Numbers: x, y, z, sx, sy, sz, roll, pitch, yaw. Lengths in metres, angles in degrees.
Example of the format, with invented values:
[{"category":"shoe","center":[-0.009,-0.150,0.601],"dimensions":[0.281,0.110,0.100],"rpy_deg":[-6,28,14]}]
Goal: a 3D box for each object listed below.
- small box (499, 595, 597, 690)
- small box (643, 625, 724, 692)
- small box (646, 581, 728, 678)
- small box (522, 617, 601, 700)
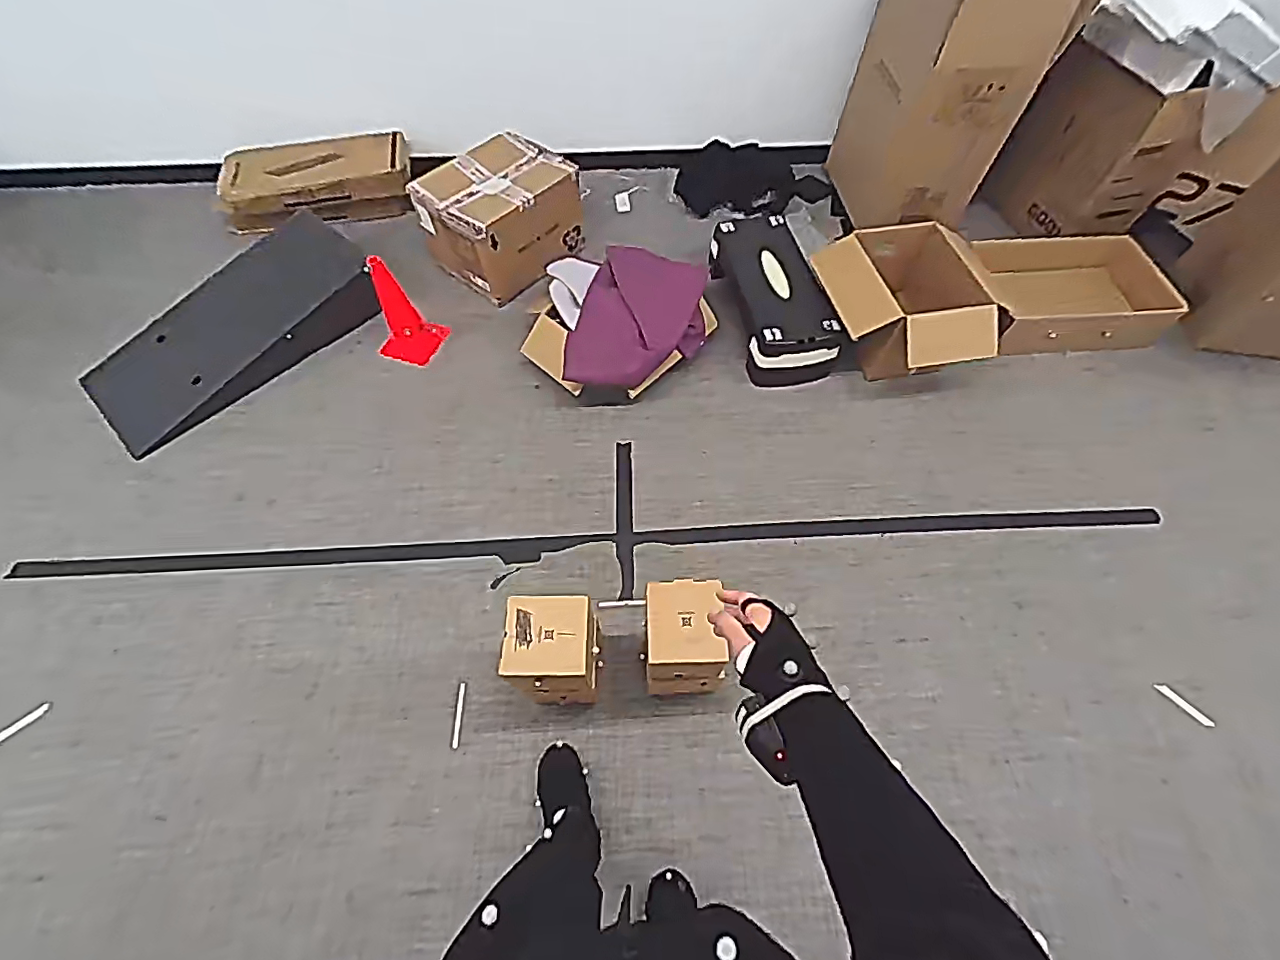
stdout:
[{"category":"small box","center":[-0.194,0.361,1.189],"dimensions":[0.179,0.176,0.168],"rpy_deg":[1,59,1]},{"category":"small box","center":[0.101,0.427,1.343],"dimensions":[0.179,0.176,0.168],"rpy_deg":[-2,60,-2]},{"category":"small box","center":[0.097,0.336,1.209],"dimensions":[0.168,0.176,0.179],"rpy_deg":[-2,61,0]},{"category":"small box","center":[-0.185,0.442,1.335],"dimensions":[0.168,0.176,0.179],"rpy_deg":[0,60,0]}]
